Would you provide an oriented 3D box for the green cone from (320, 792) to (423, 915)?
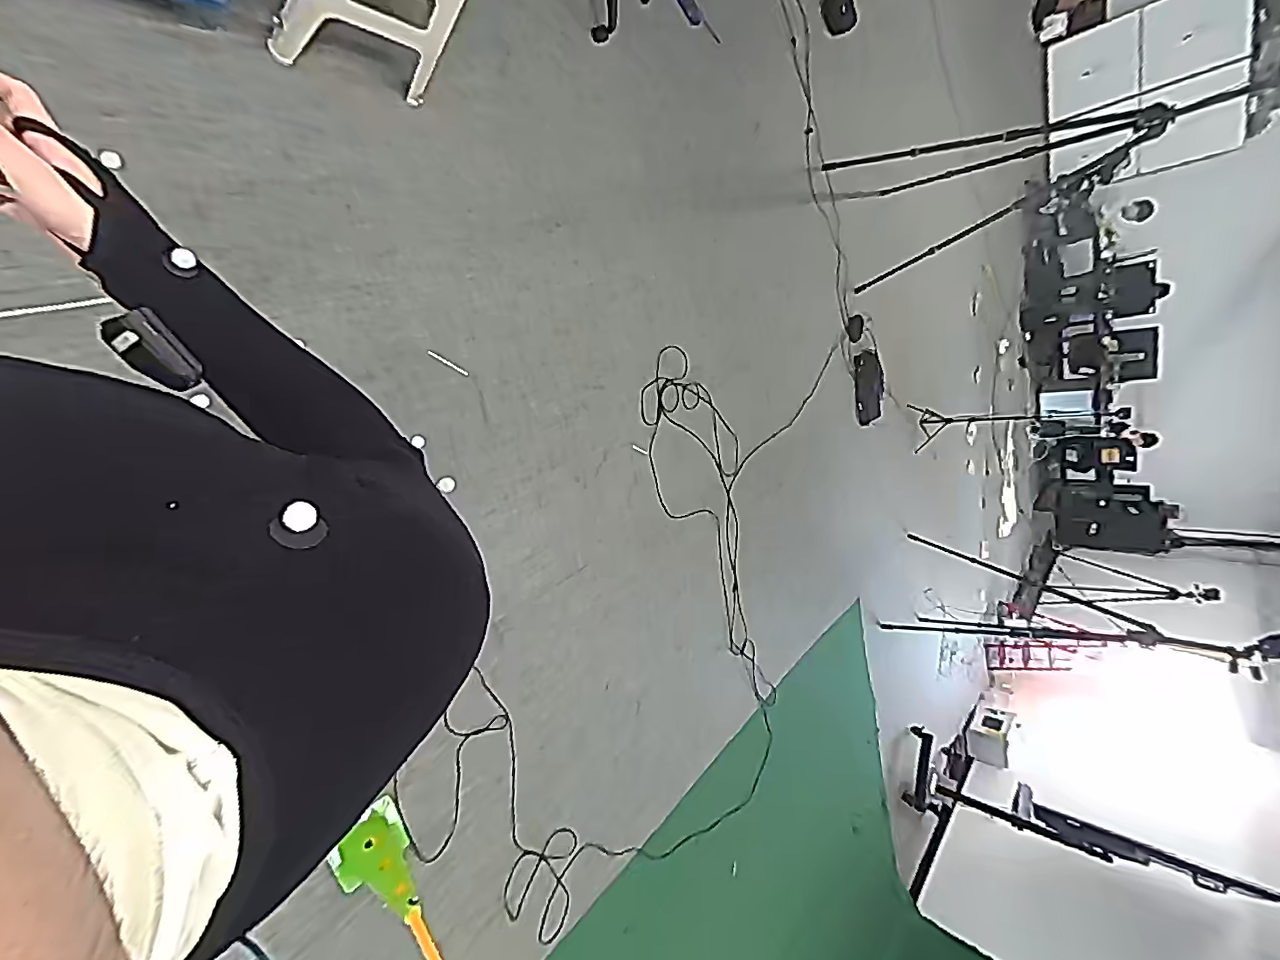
[{"bbox_3d":[-0.694,1.072,1.484,0.202,0.368,0.200,-29,113,-40],"label":"green cone"}]
